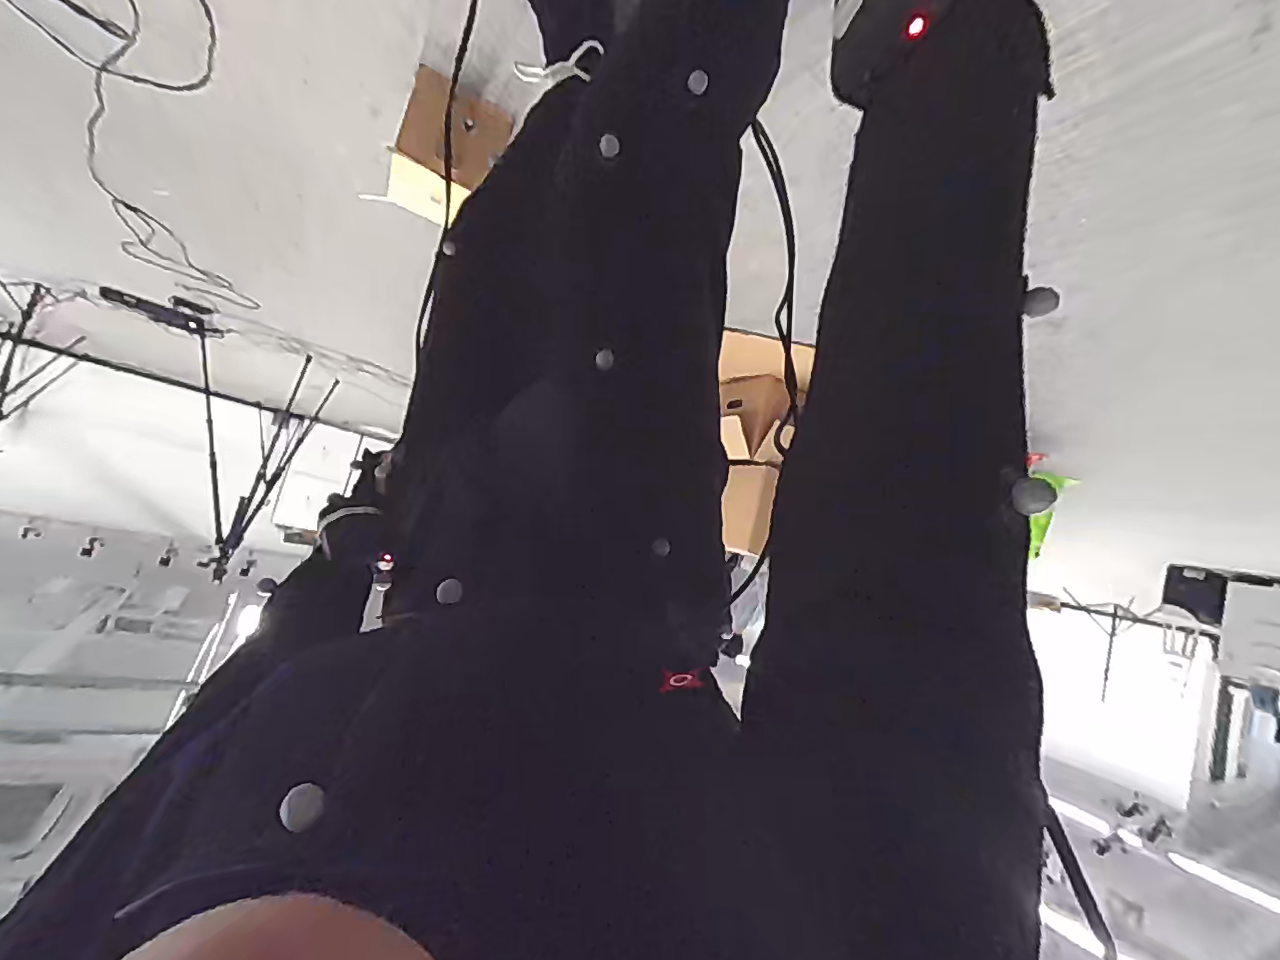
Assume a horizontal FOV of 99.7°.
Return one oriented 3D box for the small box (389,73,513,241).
[{"bbox_3d":[-0.351,-0.589,1.006,0.168,0.176,0.179,18,171,-27],"label":"small box"}]
